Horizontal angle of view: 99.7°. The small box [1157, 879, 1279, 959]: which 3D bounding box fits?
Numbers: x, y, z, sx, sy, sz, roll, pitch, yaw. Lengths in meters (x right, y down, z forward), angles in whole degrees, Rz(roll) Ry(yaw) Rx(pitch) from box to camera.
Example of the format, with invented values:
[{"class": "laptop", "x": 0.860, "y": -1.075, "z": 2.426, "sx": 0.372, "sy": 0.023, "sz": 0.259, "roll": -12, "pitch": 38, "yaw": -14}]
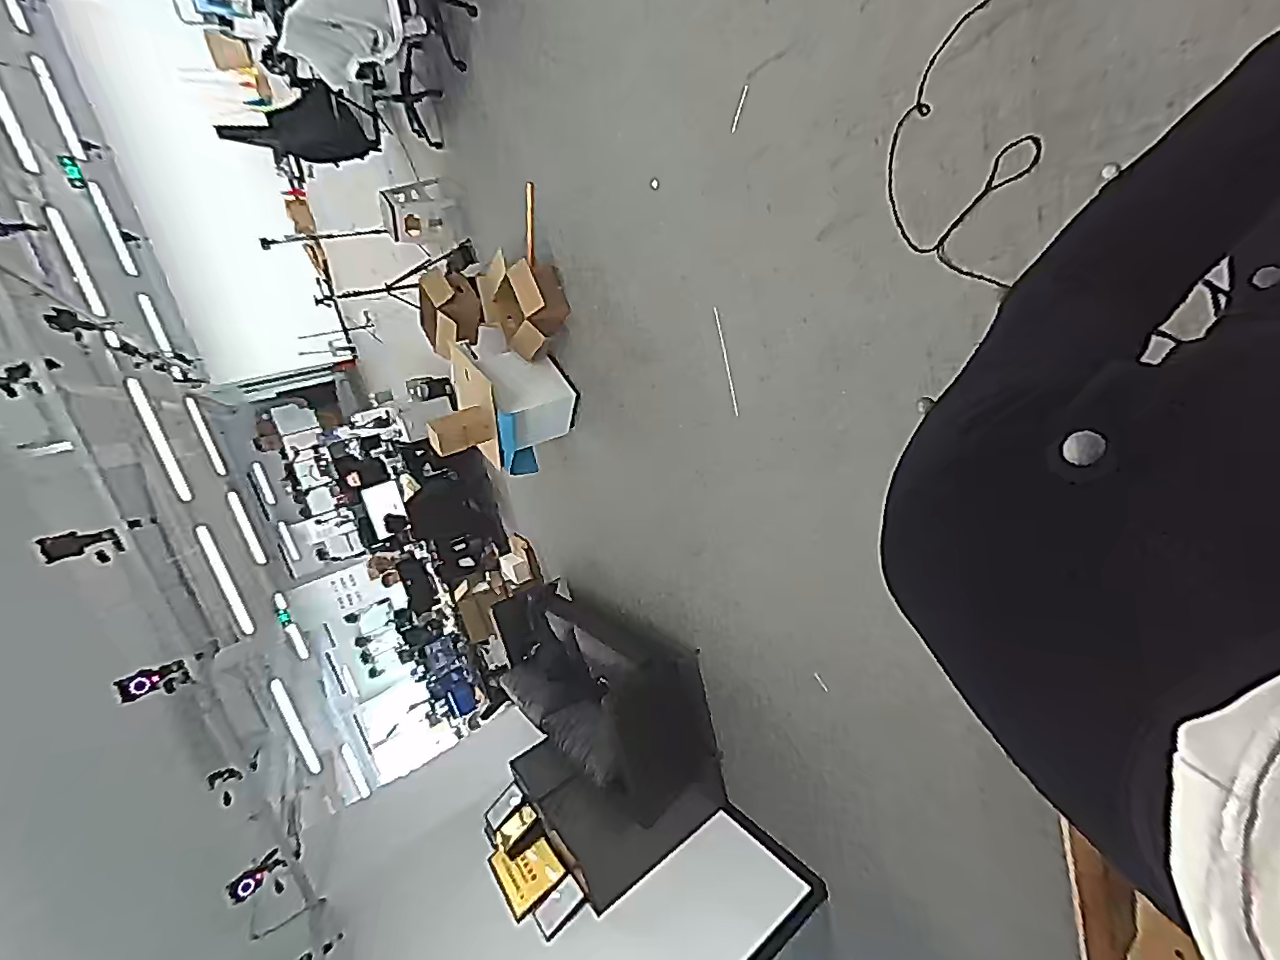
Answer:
[{"class": "small box", "x": 1.154, "y": 0.952, "z": 1.060, "sx": 0.168, "sy": 0.176, "sz": 0.179, "roll": 3, "pitch": 113, "yaw": 56}]
